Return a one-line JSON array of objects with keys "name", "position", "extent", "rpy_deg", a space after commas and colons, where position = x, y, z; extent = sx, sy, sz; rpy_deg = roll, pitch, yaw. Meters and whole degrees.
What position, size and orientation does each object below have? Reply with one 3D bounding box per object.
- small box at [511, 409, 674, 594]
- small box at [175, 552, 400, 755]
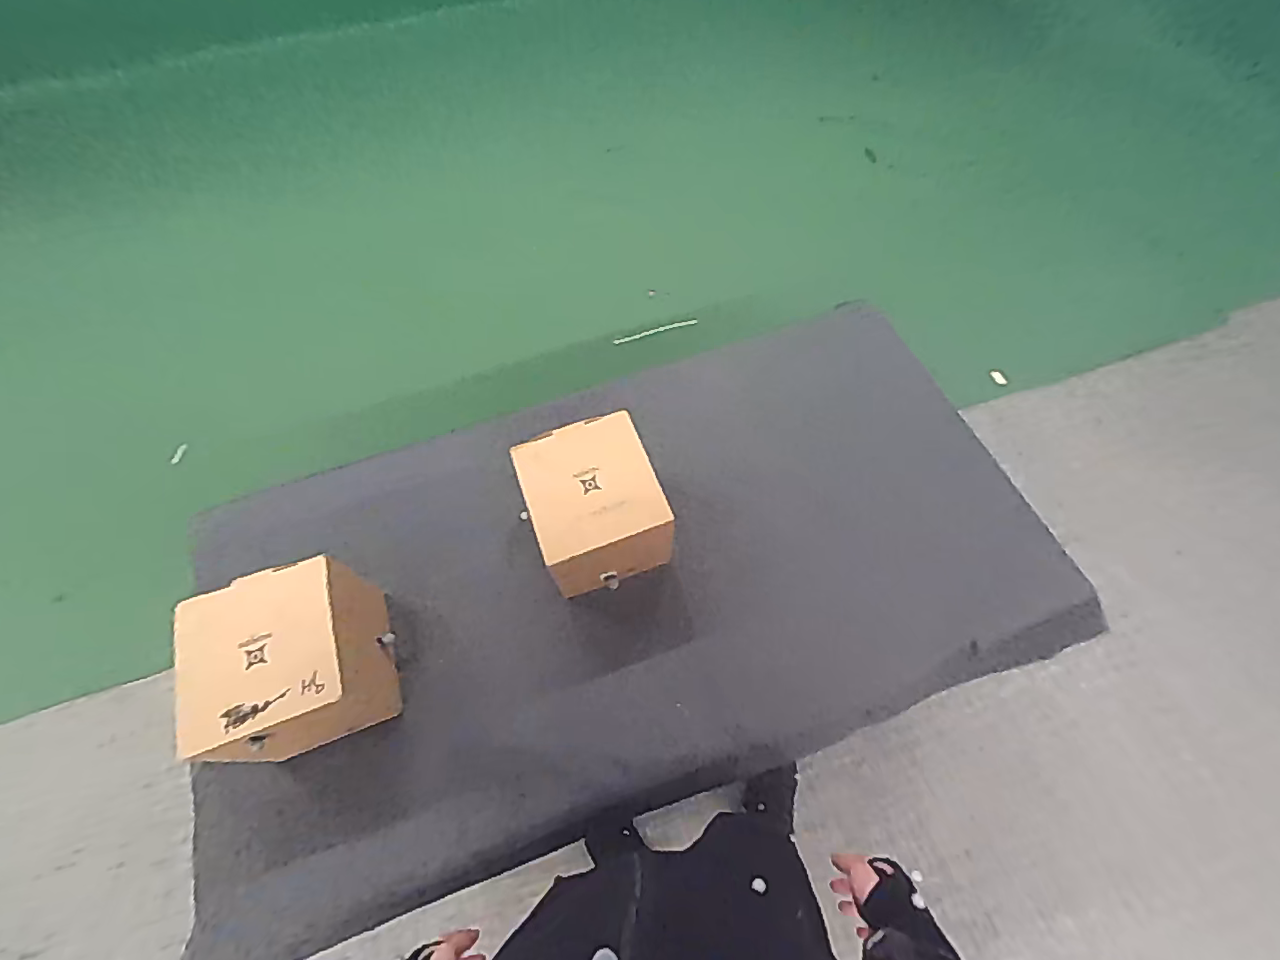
[{"name": "small box", "position": [-0.064, 0.036, 0.753], "extent": [0.168, 0.176, 0.179], "rpy_deg": [-20, 67, -8]}, {"name": "small box", "position": [-0.417, 0.218, 0.661], "extent": [0.168, 0.176, 0.179], "rpy_deg": [-20, 64, -9]}]
